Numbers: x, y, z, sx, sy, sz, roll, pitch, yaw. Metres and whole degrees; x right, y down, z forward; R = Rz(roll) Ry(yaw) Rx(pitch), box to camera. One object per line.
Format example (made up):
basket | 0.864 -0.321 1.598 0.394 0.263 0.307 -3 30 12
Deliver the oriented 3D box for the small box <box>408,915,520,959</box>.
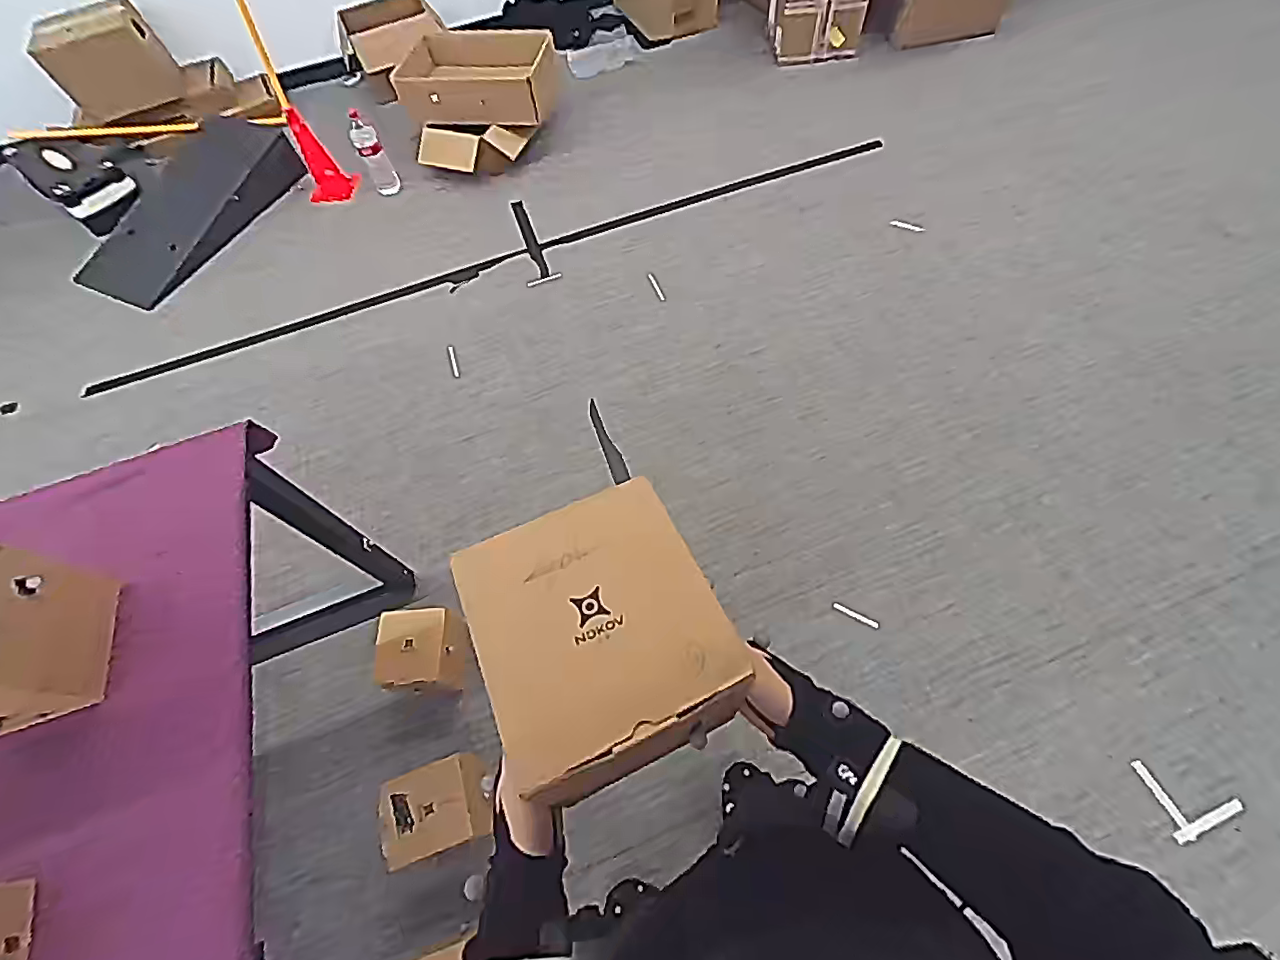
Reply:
small box | -0.340 0.991 1.052 0.179 0.176 0.168 -19 61 -5

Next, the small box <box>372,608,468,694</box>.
small box | -0.548 0.436 1.373 0.168 0.176 0.179 -5 62 2

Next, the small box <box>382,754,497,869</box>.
small box | -0.441 0.730 1.202 0.179 0.176 0.168 -20 62 -7

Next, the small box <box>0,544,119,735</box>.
small box | -0.825 0.210 0.686 0.168 0.176 0.179 -19 62 -4
